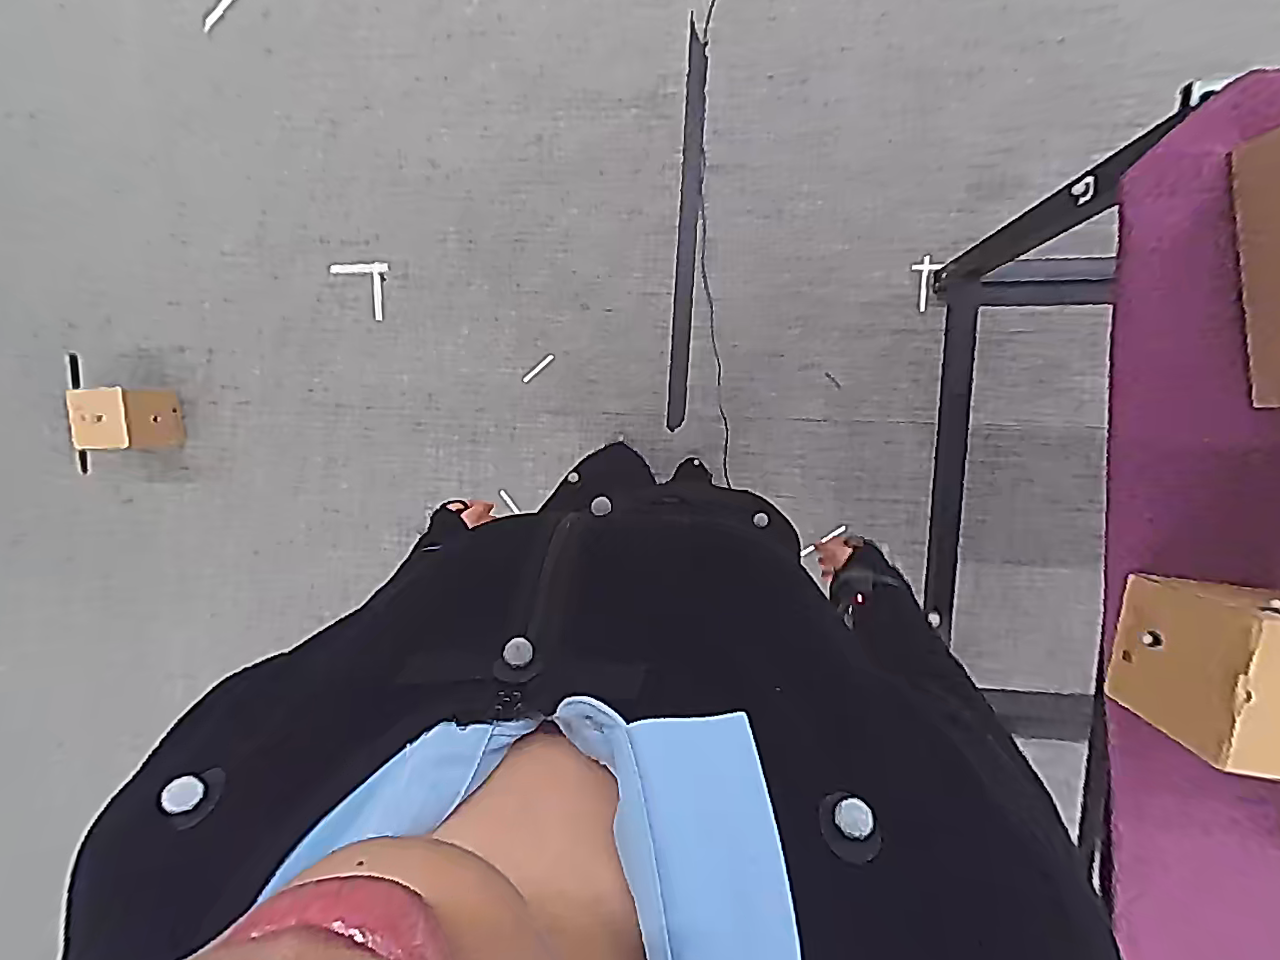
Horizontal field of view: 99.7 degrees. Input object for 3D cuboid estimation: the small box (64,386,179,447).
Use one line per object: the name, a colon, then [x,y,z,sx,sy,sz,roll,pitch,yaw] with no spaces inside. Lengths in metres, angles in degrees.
small box: [-1.468,-0.182,1.547,0.179,0.176,0.168,-1,96,7]
